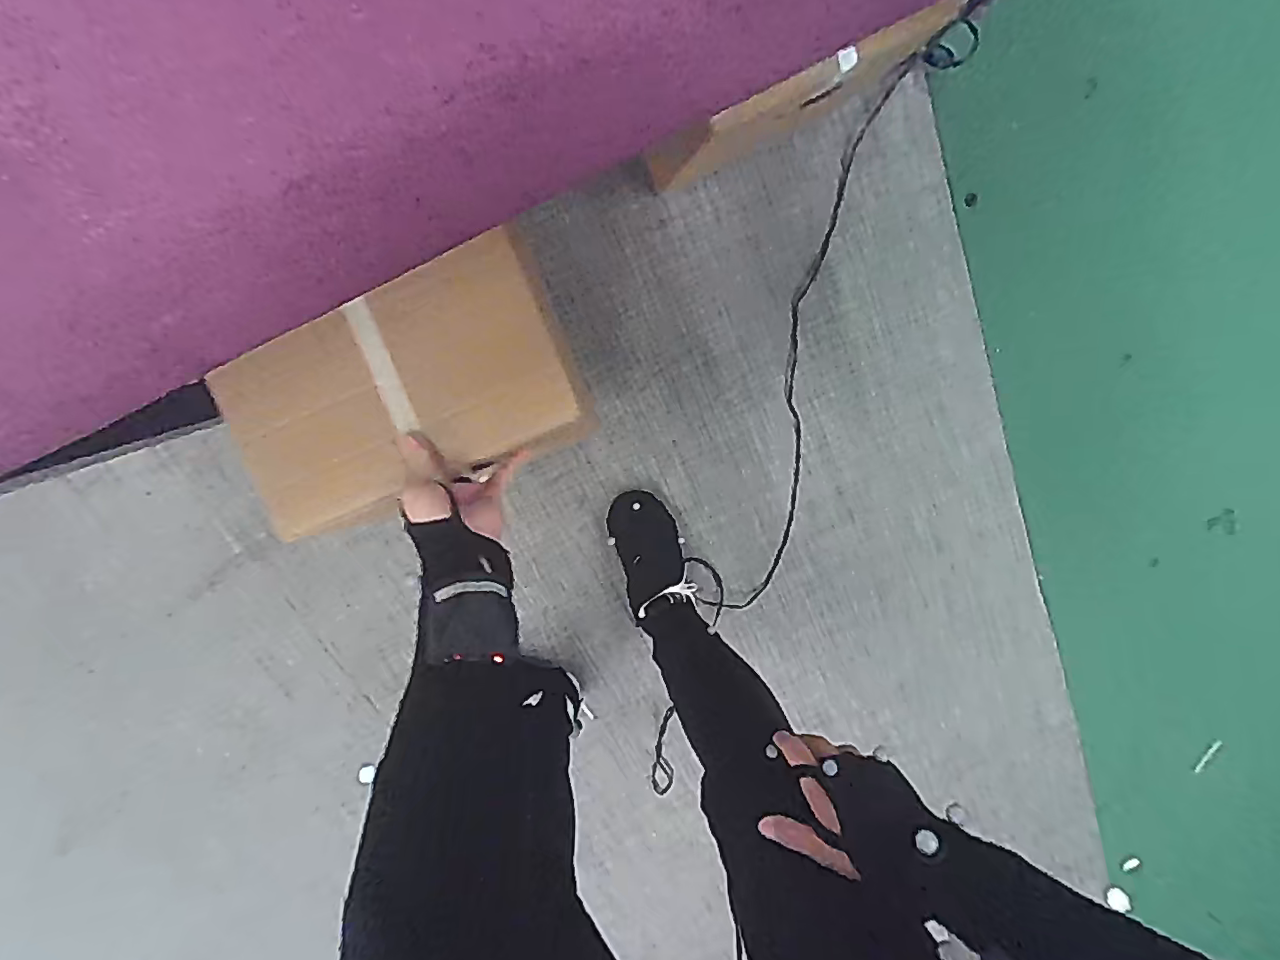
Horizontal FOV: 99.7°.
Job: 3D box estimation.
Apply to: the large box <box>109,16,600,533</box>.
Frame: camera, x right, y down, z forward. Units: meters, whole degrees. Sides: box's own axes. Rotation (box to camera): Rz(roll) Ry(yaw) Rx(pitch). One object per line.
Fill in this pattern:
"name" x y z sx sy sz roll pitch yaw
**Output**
"large box" -0.275 -0.193 0.655 0.320 0.320 0.408 -23 92 0
